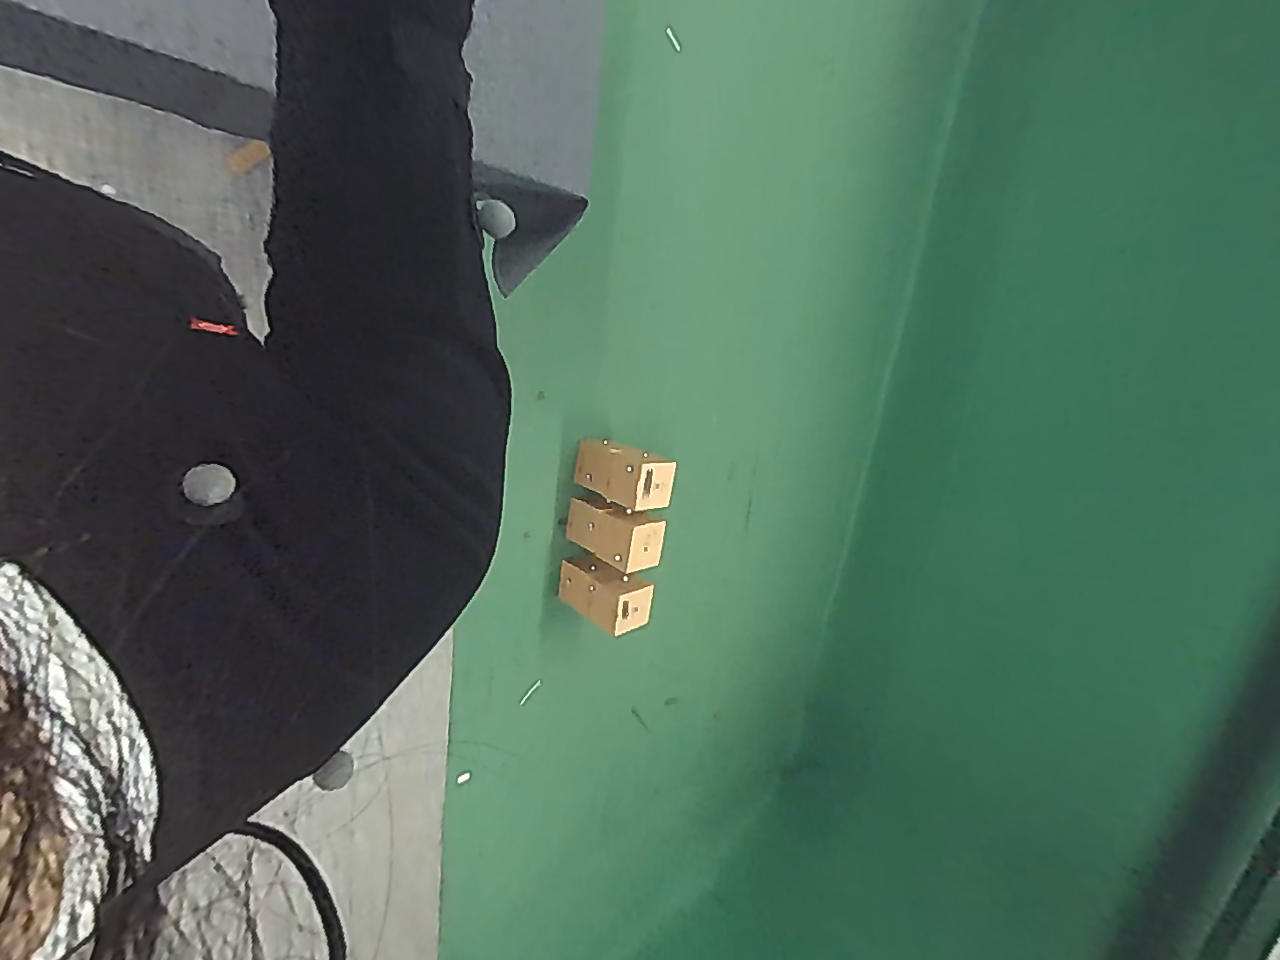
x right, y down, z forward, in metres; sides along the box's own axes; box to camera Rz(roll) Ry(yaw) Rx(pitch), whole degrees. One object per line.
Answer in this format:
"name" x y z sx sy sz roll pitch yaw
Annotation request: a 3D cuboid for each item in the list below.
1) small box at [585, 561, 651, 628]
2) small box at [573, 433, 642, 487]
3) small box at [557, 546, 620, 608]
"small box" -0.086 0.419 2.005 0.179 0.176 0.168 -8 113 -44
"small box" -0.124 -0.074 2.001 0.179 0.176 0.168 -1 108 -46
"small box" -0.199 0.372 2.114 0.179 0.176 0.168 -7 112 -44
